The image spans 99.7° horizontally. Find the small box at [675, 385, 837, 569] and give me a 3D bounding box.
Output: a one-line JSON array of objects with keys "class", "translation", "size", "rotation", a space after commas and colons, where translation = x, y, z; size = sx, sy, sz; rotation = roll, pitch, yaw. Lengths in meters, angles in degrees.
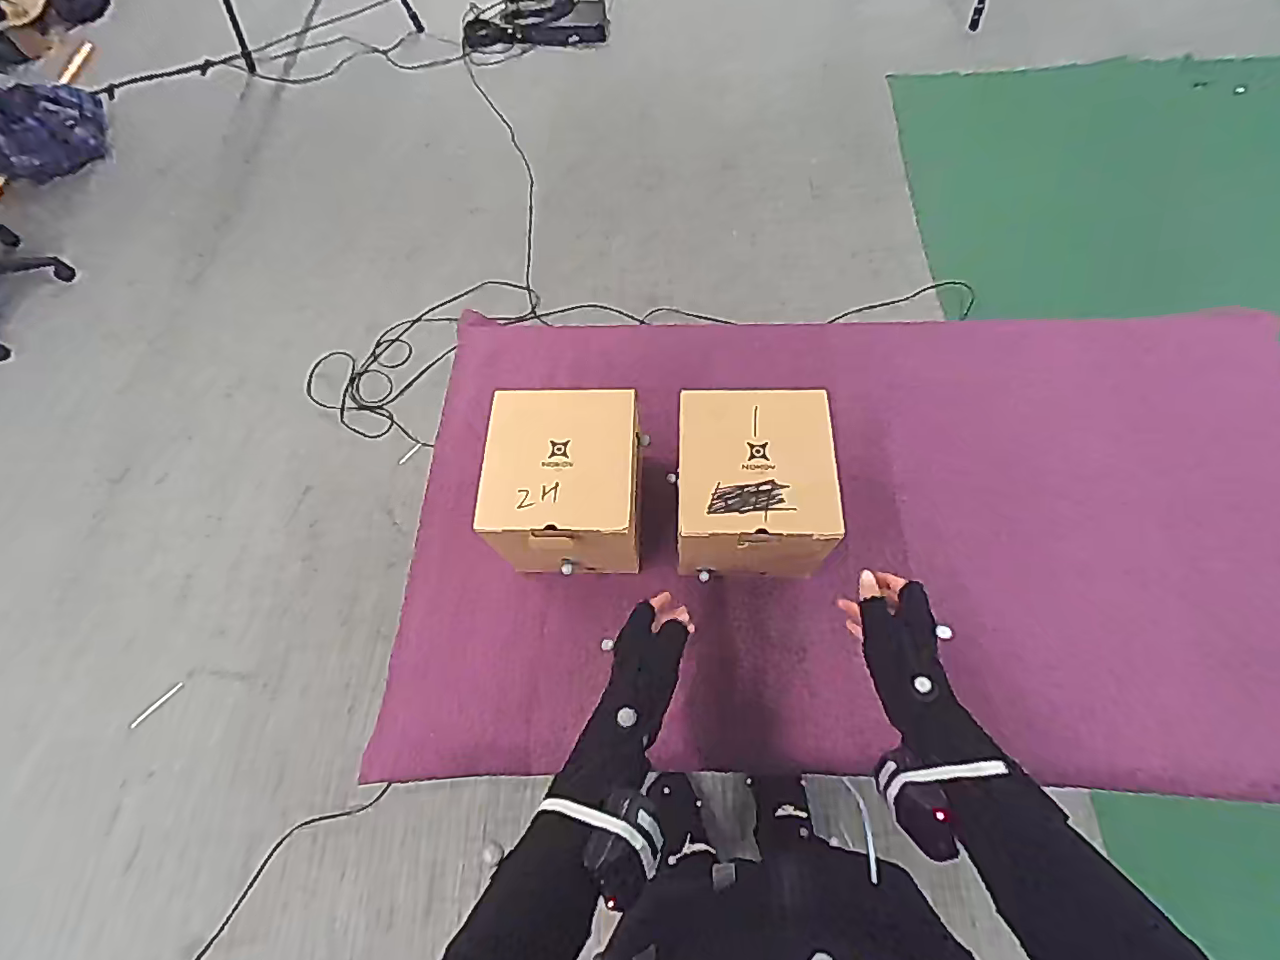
[{"class": "small box", "translation": [0.128, 0.005, 0.654], "size": [0.168, 0.176, 0.179], "rotation": [0, 66, 4]}]

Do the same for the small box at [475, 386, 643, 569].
[{"class": "small box", "translation": [-0.085, 0.003, 0.669], "size": [0.168, 0.176, 0.179], "rotation": [0, 67, 5]}]
